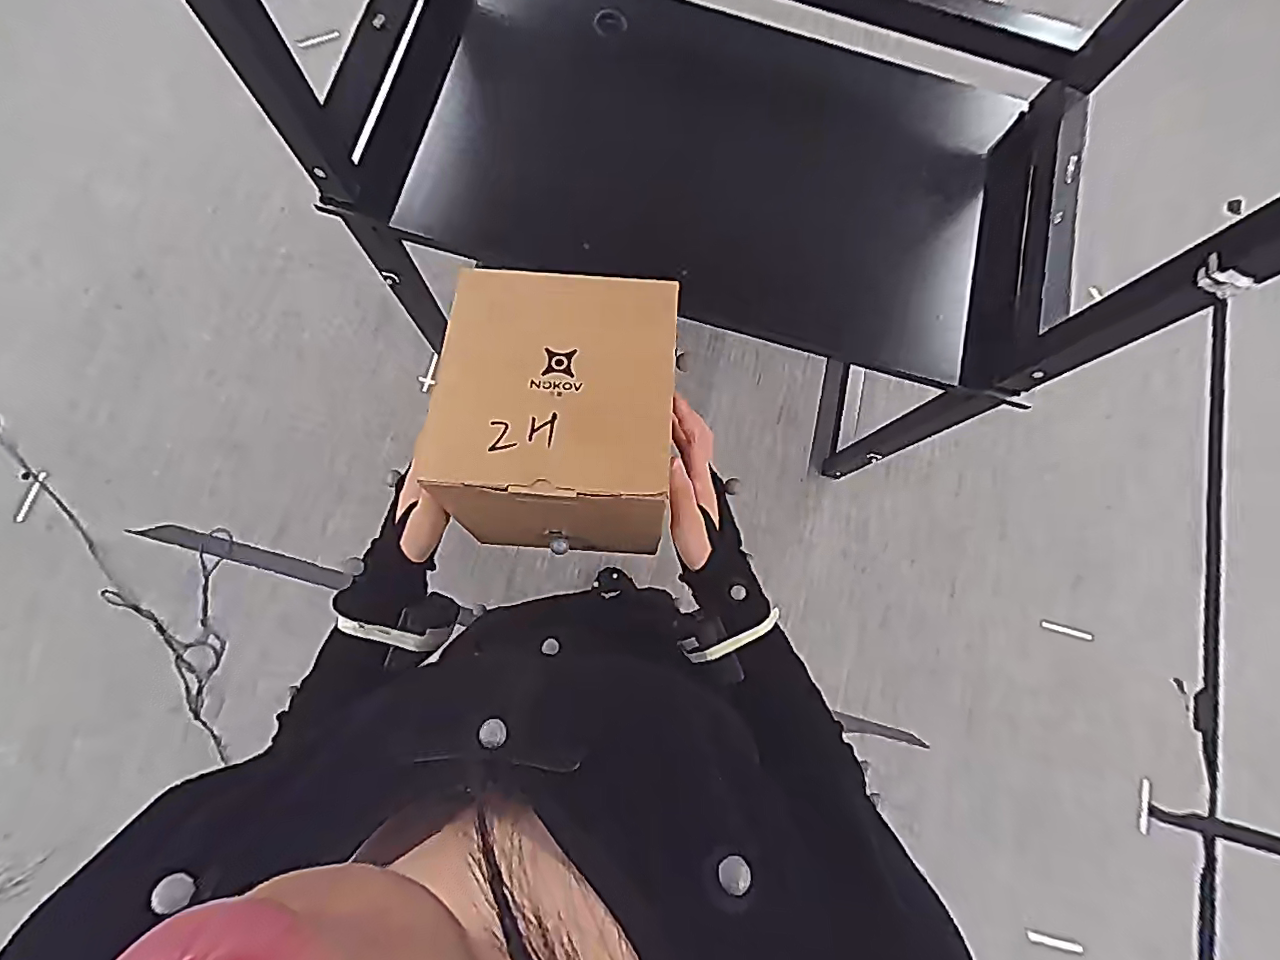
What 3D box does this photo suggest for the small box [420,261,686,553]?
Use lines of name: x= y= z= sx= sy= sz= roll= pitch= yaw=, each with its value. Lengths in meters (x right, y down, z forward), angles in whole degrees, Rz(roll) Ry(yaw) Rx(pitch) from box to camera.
small box: x=-0.055 y=-0.048 z=0.445 sx=0.168 sy=0.176 sz=0.179 roll=4 pitch=70 yaw=0
